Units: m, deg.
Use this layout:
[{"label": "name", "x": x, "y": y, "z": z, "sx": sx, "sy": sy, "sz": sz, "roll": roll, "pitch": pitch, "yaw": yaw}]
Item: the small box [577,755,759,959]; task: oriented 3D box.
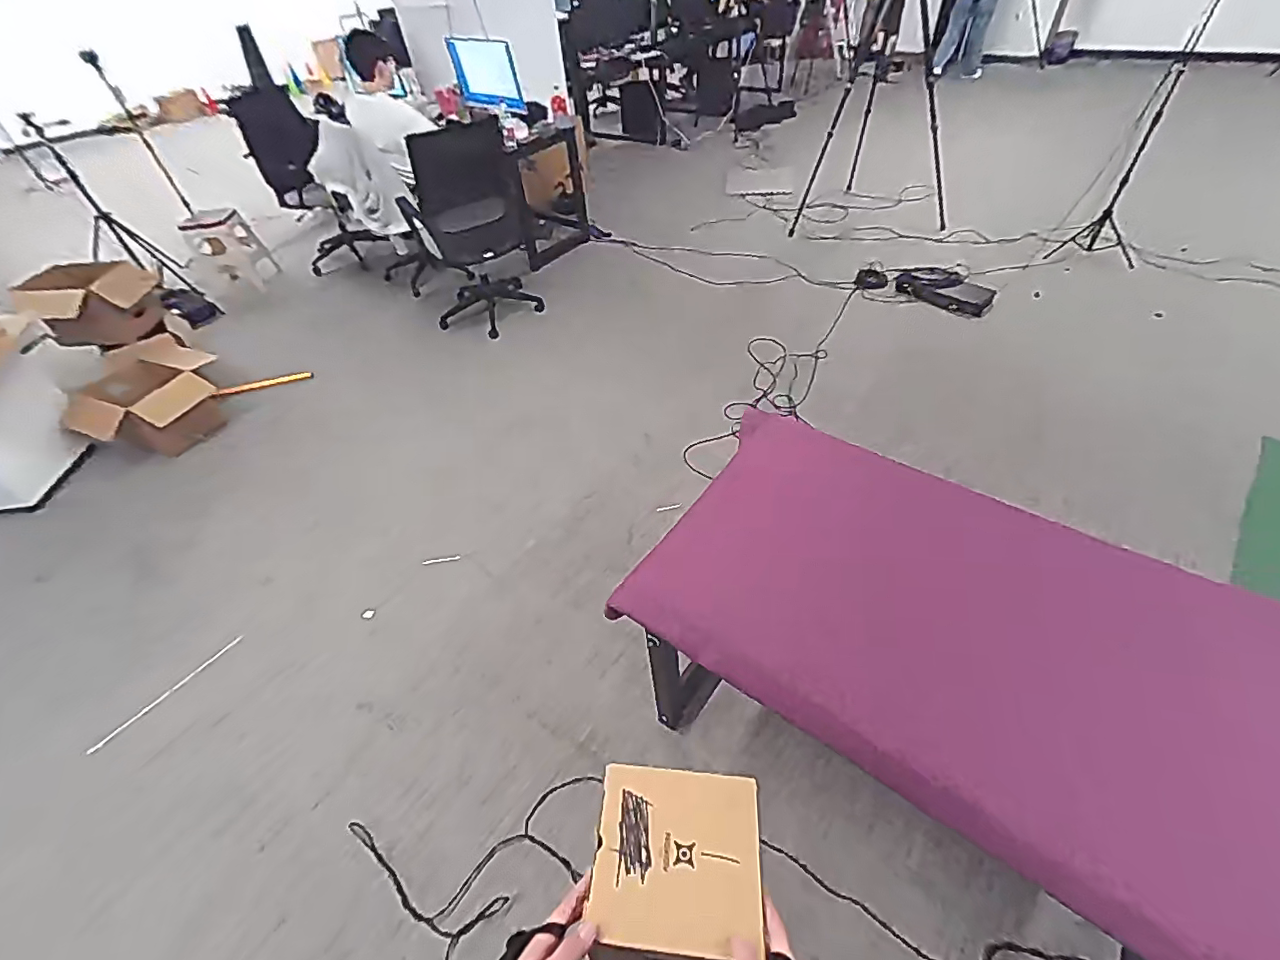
[{"label": "small box", "x": 0.037, "y": 0.442, "z": 0.618, "sx": 0.179, "sy": 0.176, "sz": 0.168, "roll": 4, "pitch": 41, "yaw": 6}]
